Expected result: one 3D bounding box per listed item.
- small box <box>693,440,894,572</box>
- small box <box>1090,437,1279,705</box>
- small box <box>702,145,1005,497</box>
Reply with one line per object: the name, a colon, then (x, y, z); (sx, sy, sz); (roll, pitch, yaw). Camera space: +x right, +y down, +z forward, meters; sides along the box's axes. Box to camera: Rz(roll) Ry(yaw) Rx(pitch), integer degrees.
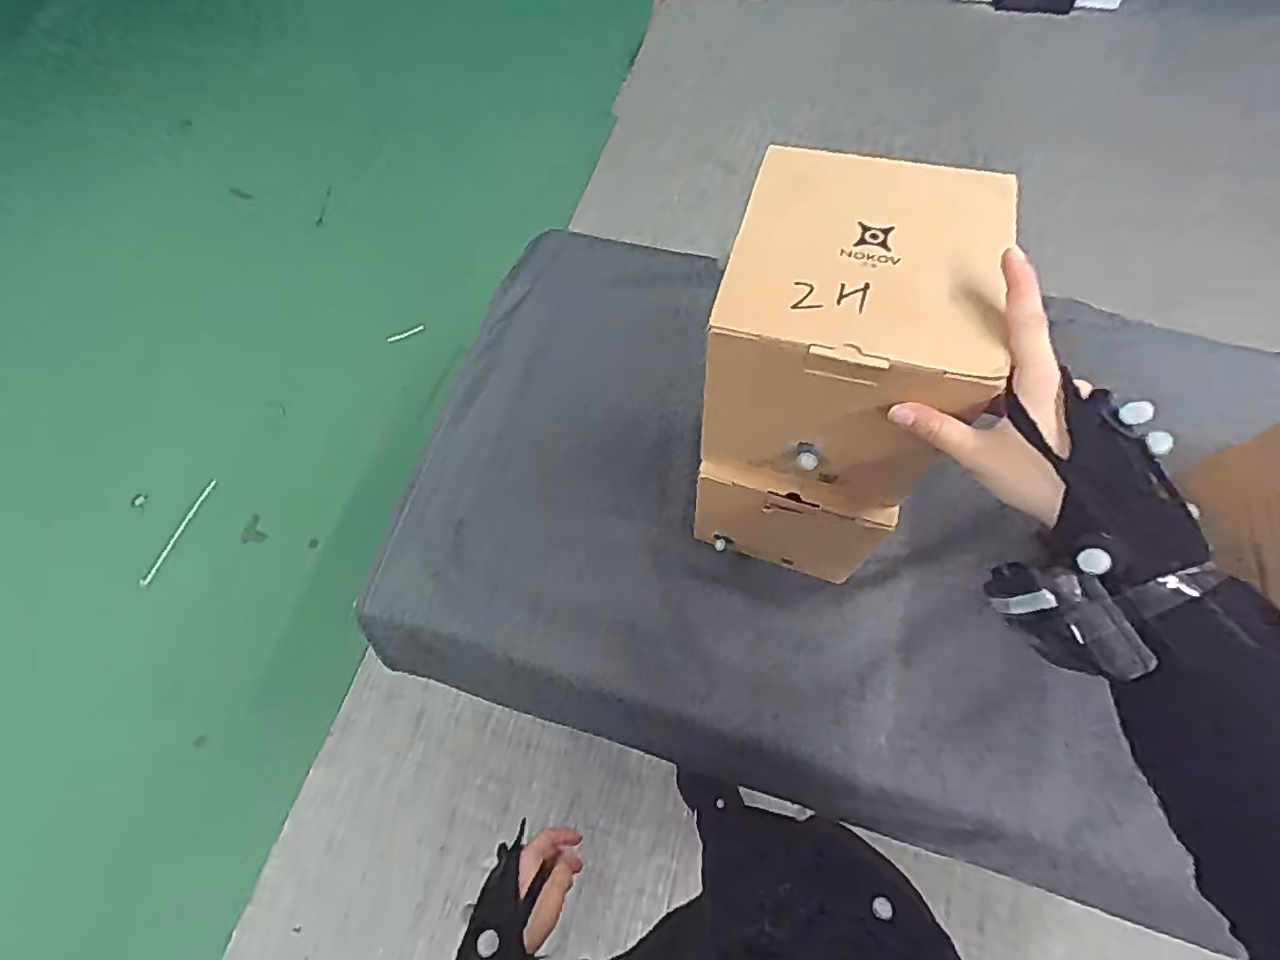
small box: (0.158, -0.025, 0.554); (0.168, 0.176, 0.179); (17, 66, 12)
small box: (0.540, 0.090, 0.473); (0.168, 0.176, 0.179); (12, 67, 9)
small box: (0.145, -0.112, 0.413); (0.168, 0.176, 0.179); (14, 66, 12)
